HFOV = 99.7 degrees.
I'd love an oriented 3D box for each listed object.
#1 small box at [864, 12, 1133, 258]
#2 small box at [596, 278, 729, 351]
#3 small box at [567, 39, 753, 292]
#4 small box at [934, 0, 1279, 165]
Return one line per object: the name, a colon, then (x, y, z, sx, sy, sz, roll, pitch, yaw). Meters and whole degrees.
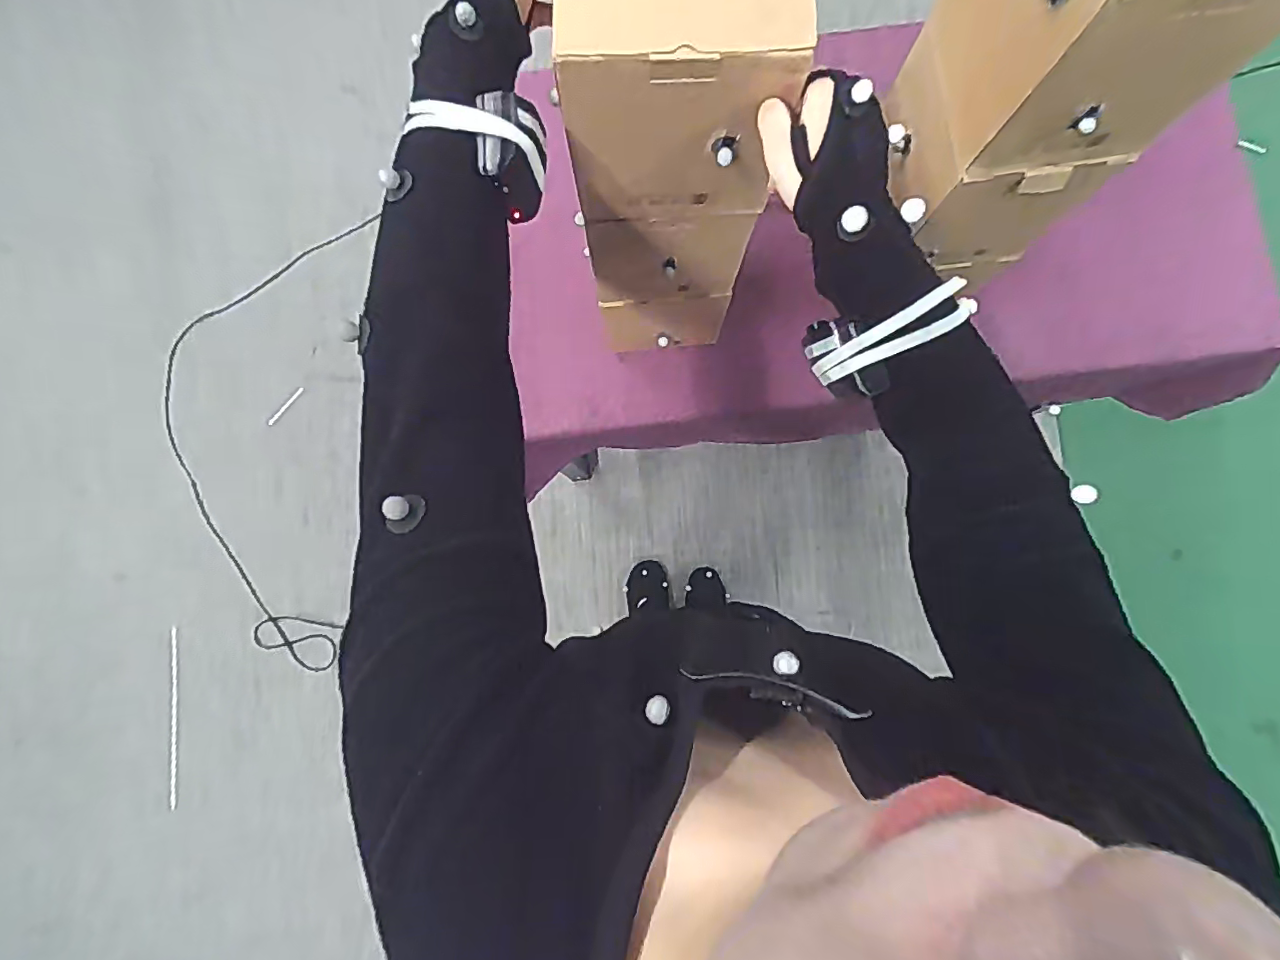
small box: (0.364, -0.361, 0.585, 0.168, 0.176, 0.179, -7, 82, 0)
small box: (0.023, -0.296, 0.750, 0.168, 0.176, 0.179, -6, 83, 1)
small box: (0.019, -0.319, 0.587, 0.168, 0.176, 0.179, -5, 84, 0)
small box: (0.362, -0.390, 0.425, 0.168, 0.176, 0.179, -8, 83, 0)
